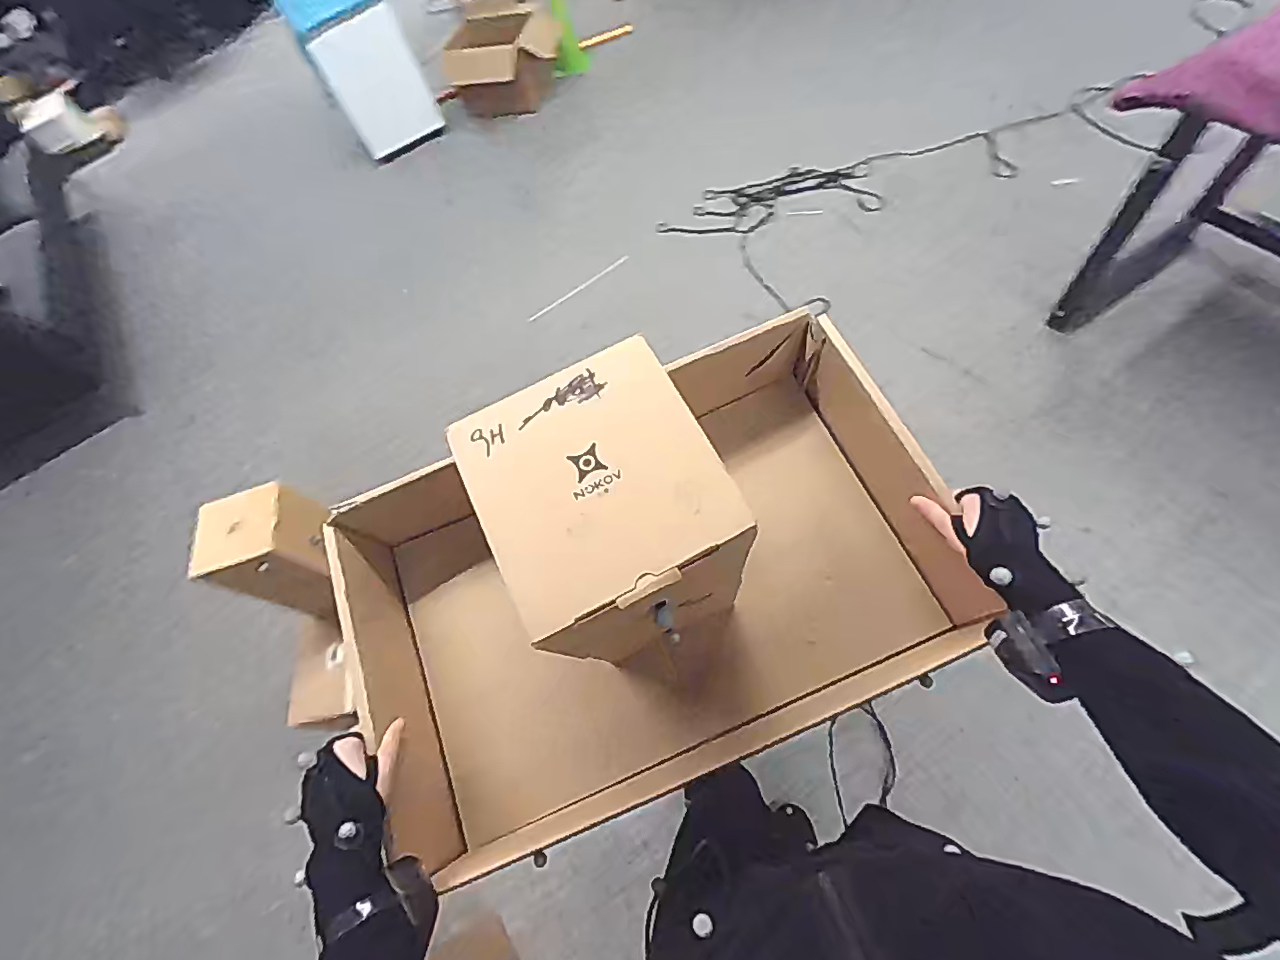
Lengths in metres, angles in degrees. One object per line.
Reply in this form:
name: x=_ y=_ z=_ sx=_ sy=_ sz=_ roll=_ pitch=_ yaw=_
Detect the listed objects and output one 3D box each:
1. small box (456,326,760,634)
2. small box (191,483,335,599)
small box: x=-0.020 y=0.016 z=0.449 sx=0.168 sy=0.176 sz=0.179 roll=-26 pitch=69 yaw=-4
small box: x=-0.783 y=0.136 z=1.141 sx=0.179 sy=0.176 sz=0.168 roll=-18 pitch=60 yaw=2
